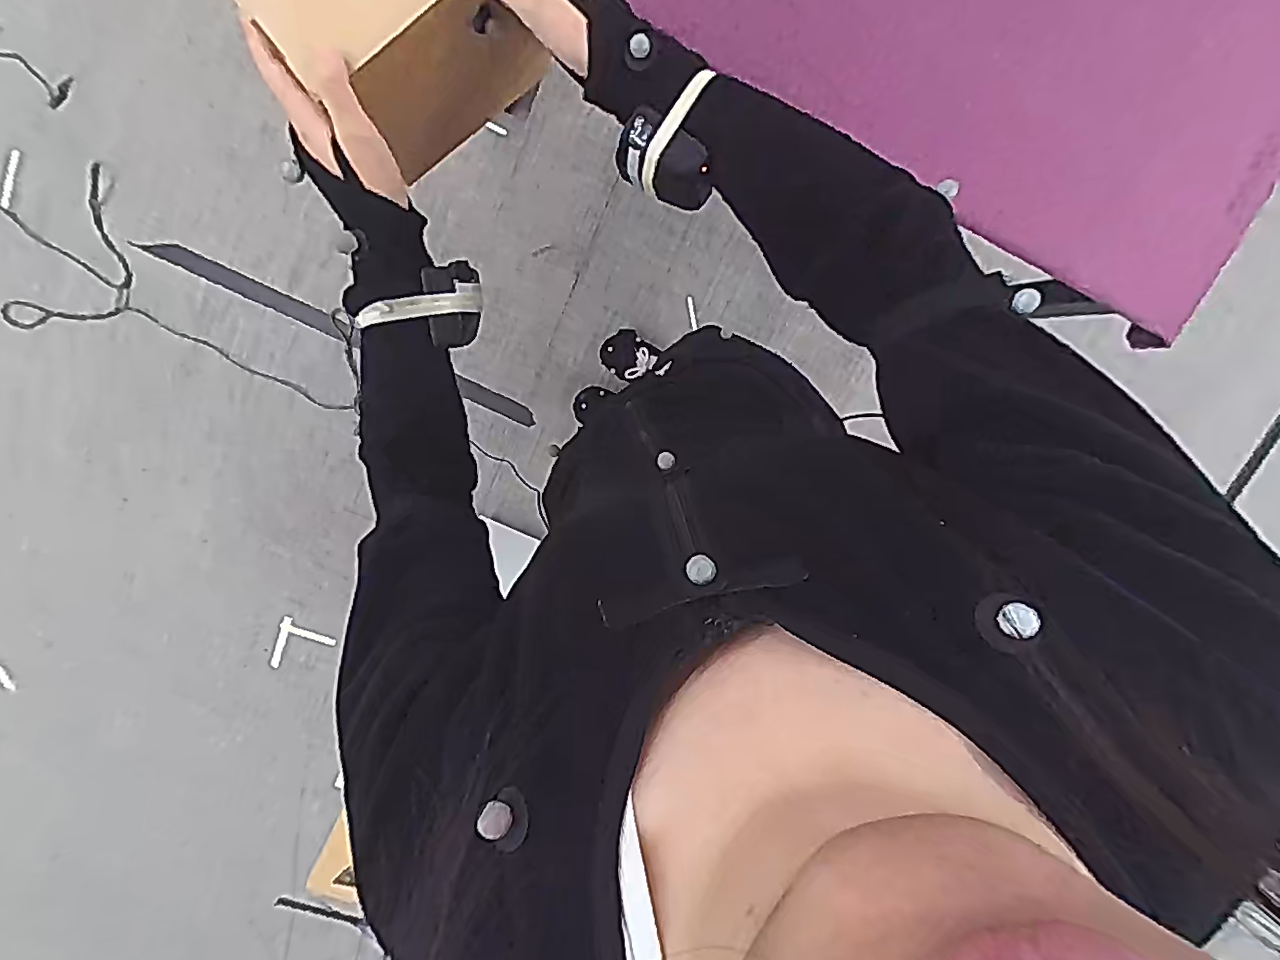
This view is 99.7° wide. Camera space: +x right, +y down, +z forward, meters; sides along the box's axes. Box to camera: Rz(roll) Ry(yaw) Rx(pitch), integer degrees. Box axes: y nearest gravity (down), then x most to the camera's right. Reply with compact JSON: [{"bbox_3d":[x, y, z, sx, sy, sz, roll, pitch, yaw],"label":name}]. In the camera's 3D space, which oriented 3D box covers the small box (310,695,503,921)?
[{"bbox_3d":[-0.305,0.440,0.744,0.168,0.176,0.179,26,101,-10],"label":"small box"}]
